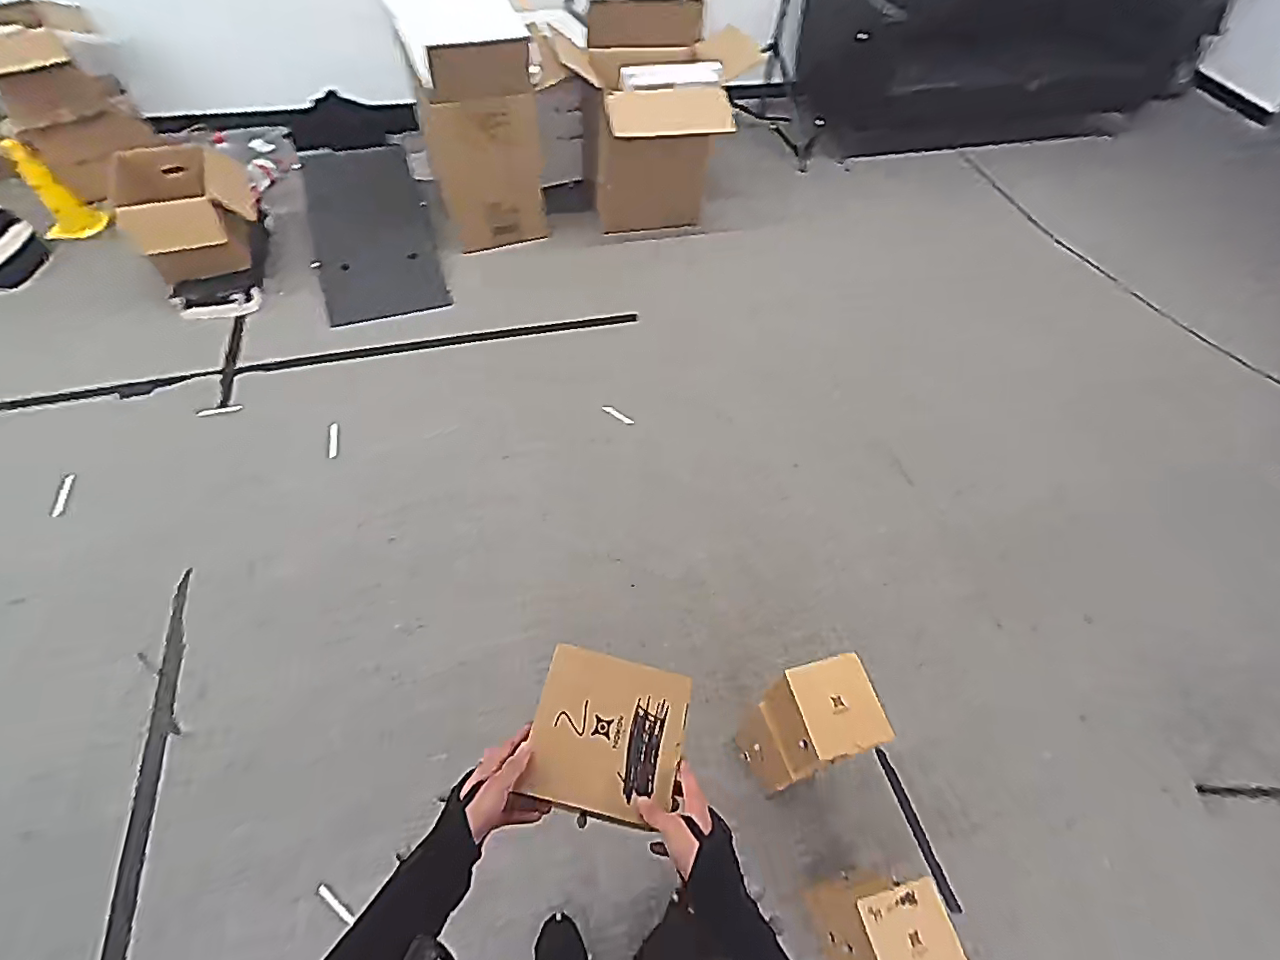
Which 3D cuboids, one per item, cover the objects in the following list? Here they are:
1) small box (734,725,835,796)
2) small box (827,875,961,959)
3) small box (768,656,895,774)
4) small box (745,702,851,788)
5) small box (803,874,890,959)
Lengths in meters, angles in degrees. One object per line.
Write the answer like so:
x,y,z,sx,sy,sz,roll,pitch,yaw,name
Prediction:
0.365,0.691,1.391,0.179,0.176,0.168,-16,59,-14,small box
0.497,0.907,1.062,0.168,0.176,0.179,-8,59,-10,small box
0.387,0.494,1.132,0.168,0.176,0.179,-10,58,-11,small box
0.369,0.595,1.258,0.179,0.176,0.168,-15,58,-13,small box
0.486,0.997,1.199,0.168,0.176,0.179,-10,59,-10,small box
